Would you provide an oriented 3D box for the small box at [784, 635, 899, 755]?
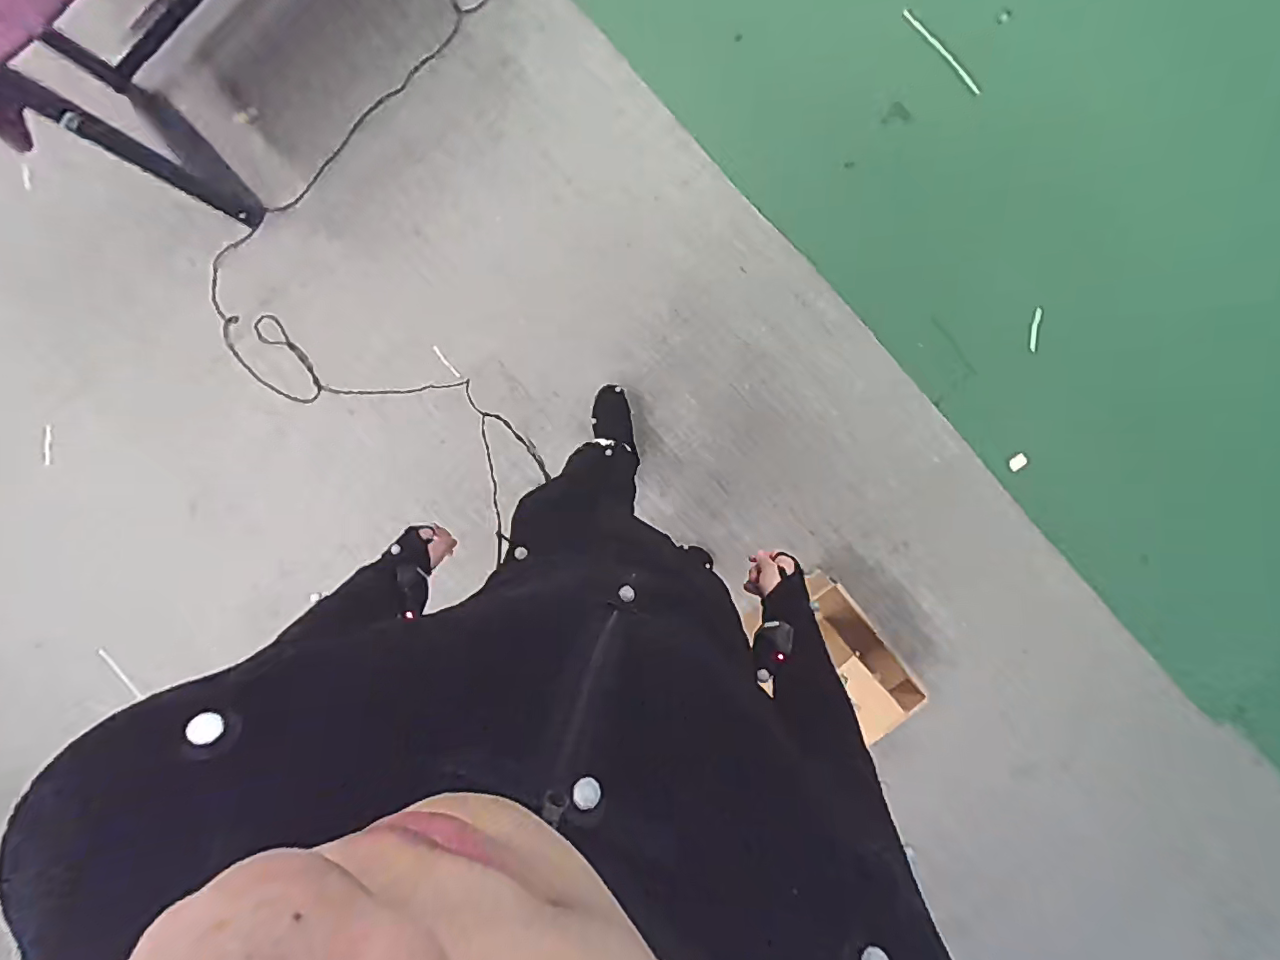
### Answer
[{"bbox_3d":[0.477,0.510,1.310,0.168,0.176,0.179,-42,89,4],"label":"small box"}]
